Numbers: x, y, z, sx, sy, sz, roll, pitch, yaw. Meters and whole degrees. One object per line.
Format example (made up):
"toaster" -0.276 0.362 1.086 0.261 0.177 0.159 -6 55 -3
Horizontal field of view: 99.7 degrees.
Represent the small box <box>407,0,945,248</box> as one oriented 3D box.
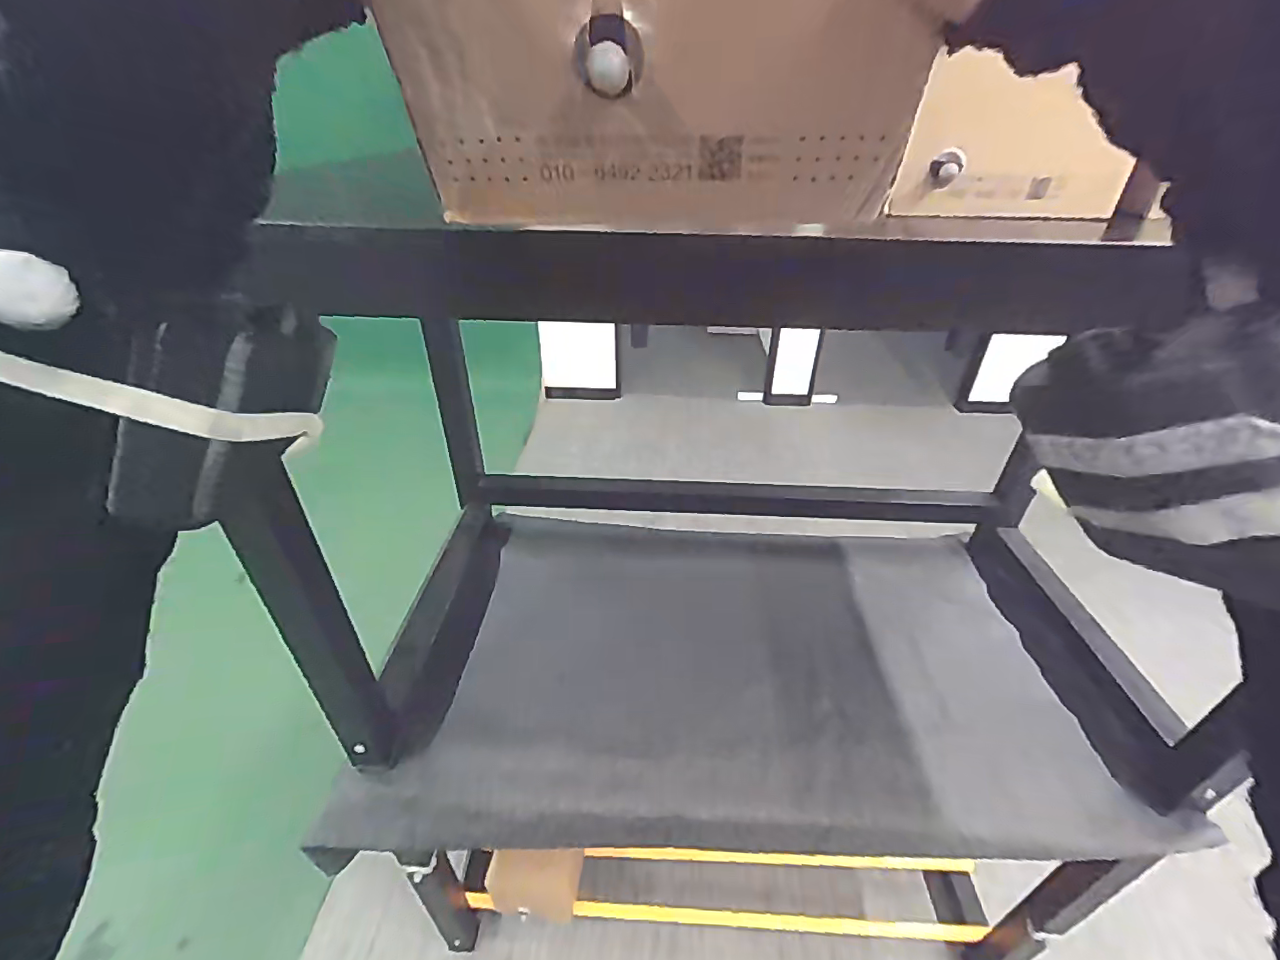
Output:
"small box" 0.010 -0.211 0.197 0.168 0.176 0.179 1 58 3
